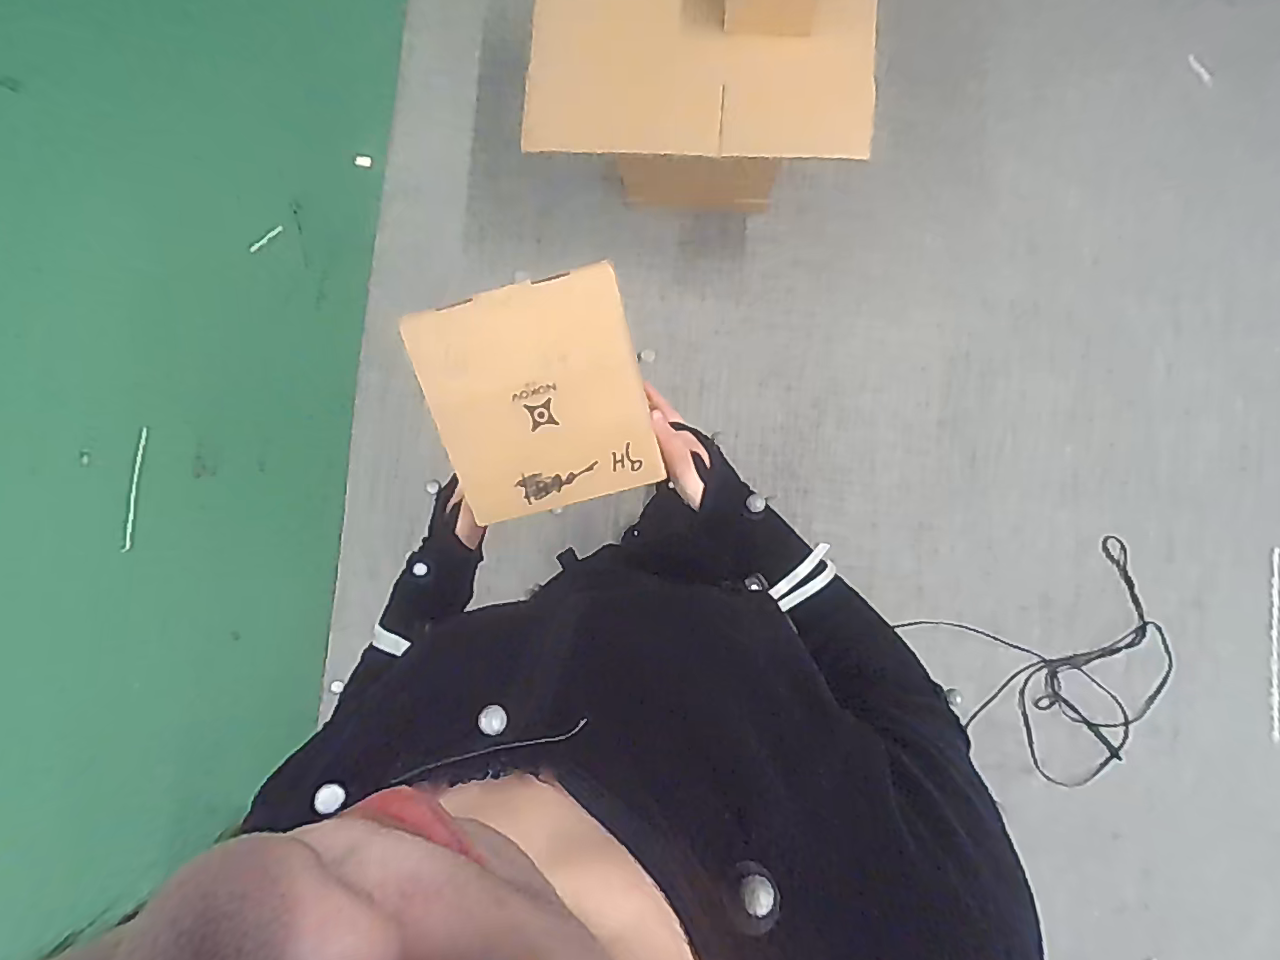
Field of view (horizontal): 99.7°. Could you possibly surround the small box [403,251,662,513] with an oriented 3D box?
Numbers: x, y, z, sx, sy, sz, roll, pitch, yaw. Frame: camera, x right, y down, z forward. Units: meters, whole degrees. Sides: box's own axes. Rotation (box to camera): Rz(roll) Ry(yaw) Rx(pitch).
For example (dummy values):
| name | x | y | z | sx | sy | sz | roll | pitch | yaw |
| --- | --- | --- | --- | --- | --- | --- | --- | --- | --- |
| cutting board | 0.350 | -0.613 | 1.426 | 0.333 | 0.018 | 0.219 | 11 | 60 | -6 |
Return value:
| name | x | y | z | sx | sy | sz | roll | pitch | yaw |
| --- | --- | --- | --- | --- | --- | --- | --- | --- | --- |
| small box | -0.081 | -0.093 | 0.497 | 0.168 | 0.176 | 0.179 | -13 | 108 | 4 |
